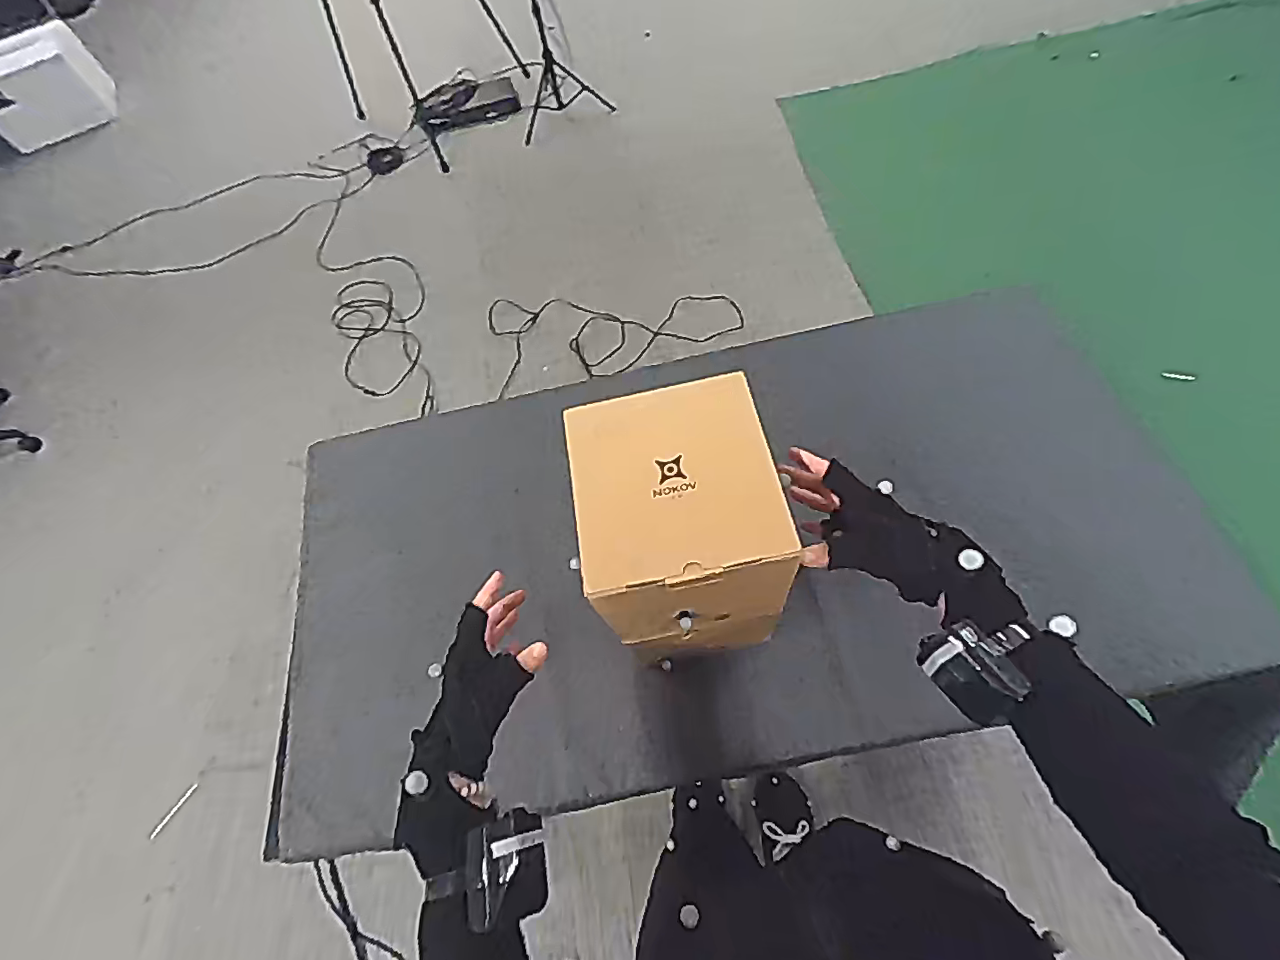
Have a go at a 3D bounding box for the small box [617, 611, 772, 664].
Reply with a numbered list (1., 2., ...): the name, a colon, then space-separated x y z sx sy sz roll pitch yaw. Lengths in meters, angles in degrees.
1. small box: 0.055 0.116 0.659 0.168 0.176 0.179 -13 60 2

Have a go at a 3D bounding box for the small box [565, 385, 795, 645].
1. small box: 0.033 0.041 0.517 0.168 0.176 0.179 -13 61 2
